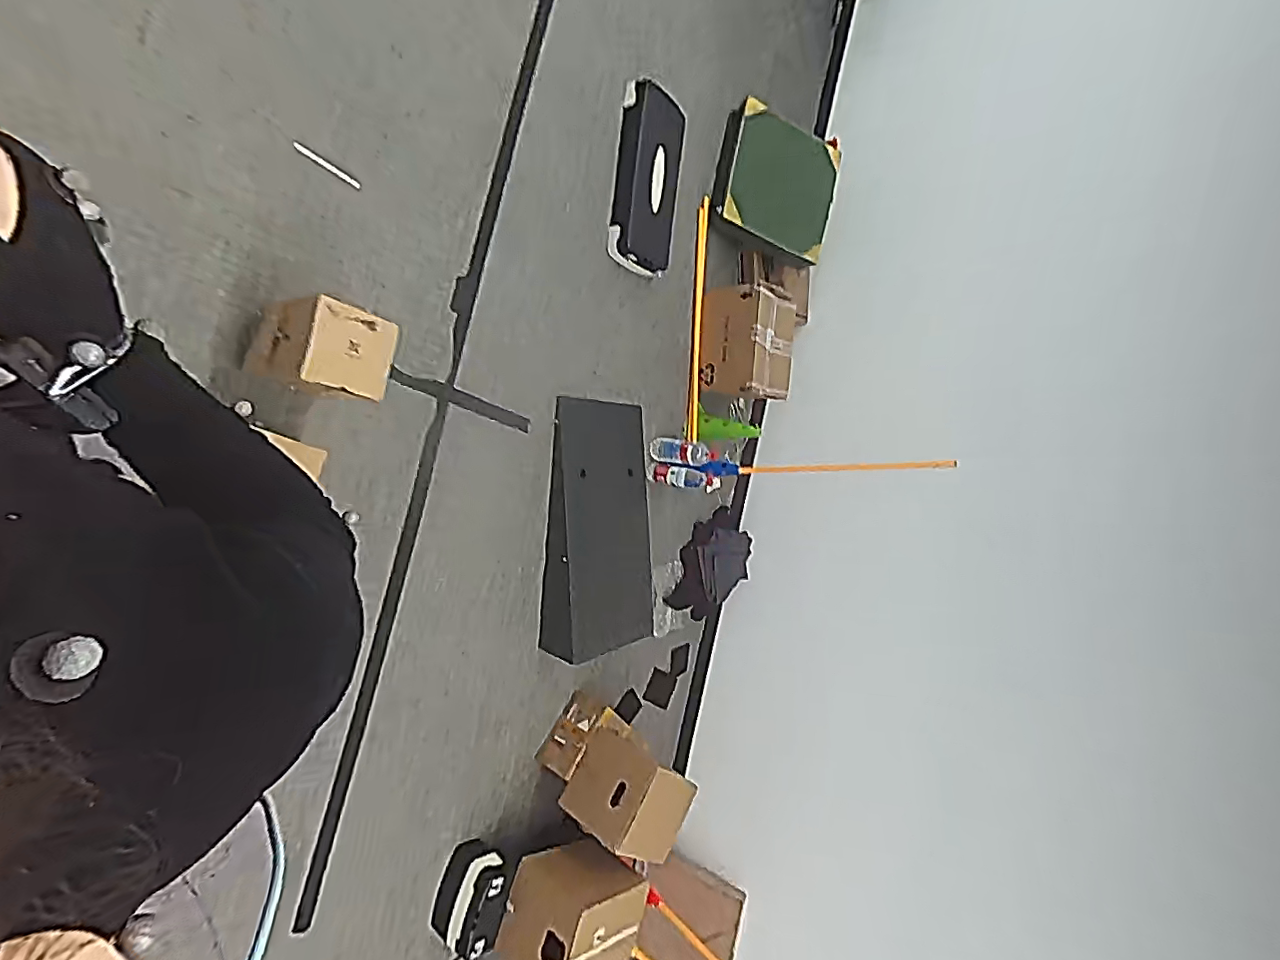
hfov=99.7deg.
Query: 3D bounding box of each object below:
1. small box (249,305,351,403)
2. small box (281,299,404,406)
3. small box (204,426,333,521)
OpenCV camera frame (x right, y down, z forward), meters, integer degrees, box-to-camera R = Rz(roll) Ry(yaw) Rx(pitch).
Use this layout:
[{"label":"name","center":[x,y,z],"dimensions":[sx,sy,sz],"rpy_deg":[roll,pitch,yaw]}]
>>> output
[{"label":"small box","center":[-0.778,-0.288,1.270],"dimensions":[0.179,0.176,0.168],"rpy_deg":[23,80,-51]},{"label":"small box","center":[-0.648,-0.271,1.170],"dimensions":[0.168,0.176,0.179],"rpy_deg":[16,86,-52]},{"label":"small box","center":[-0.852,-0.017,1.238],"dimensions":[0.179,0.176,0.168],"rpy_deg":[28,76,-50]}]
